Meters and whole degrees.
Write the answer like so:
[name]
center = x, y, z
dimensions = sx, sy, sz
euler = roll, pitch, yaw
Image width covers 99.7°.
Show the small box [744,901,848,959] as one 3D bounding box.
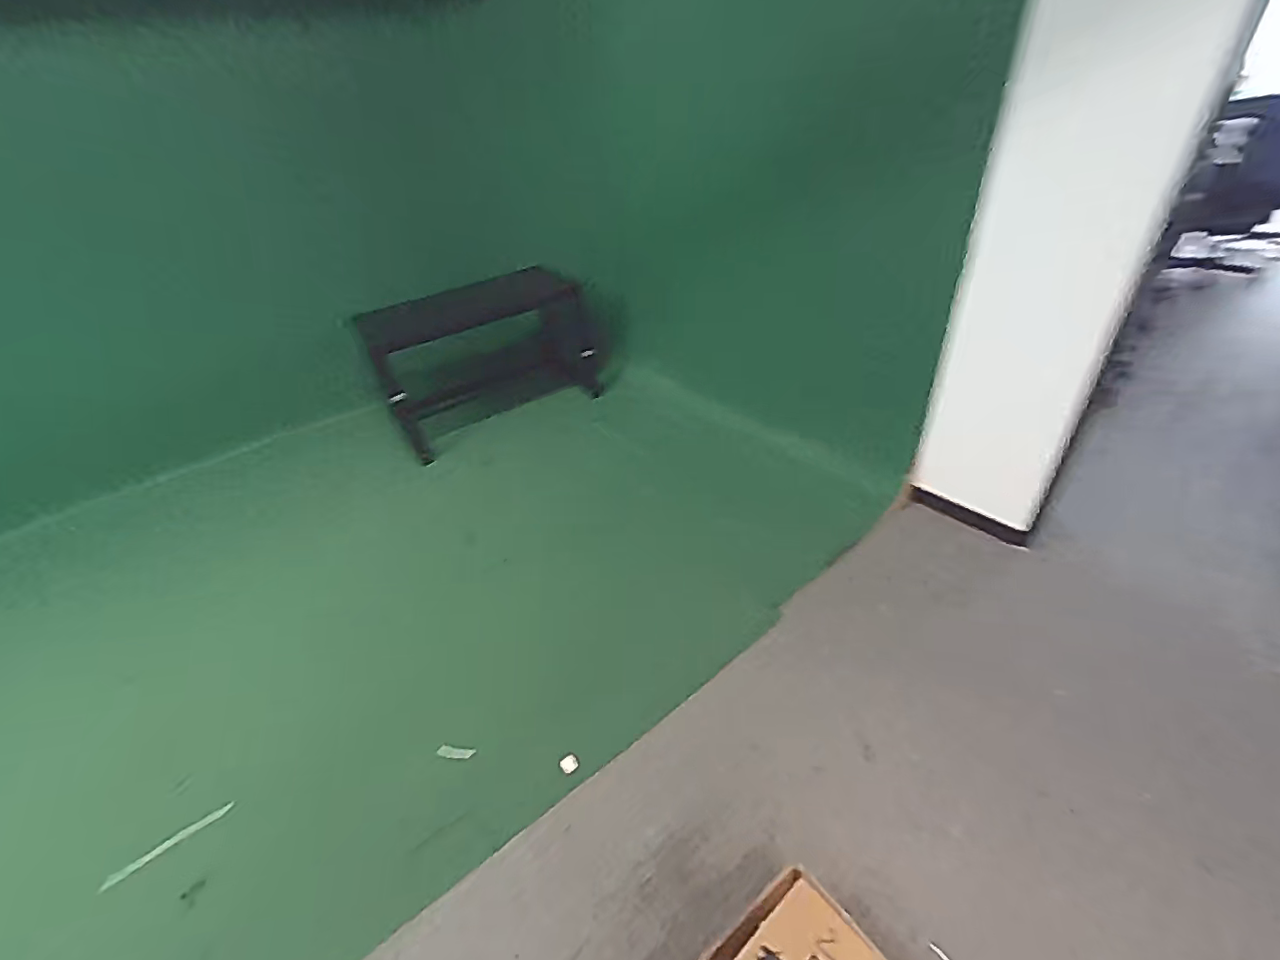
[small box]
center = 0.284, 0.929, 0.980
dimensions = 0.179, 0.176, 0.168
euler = -29, 42, -27
